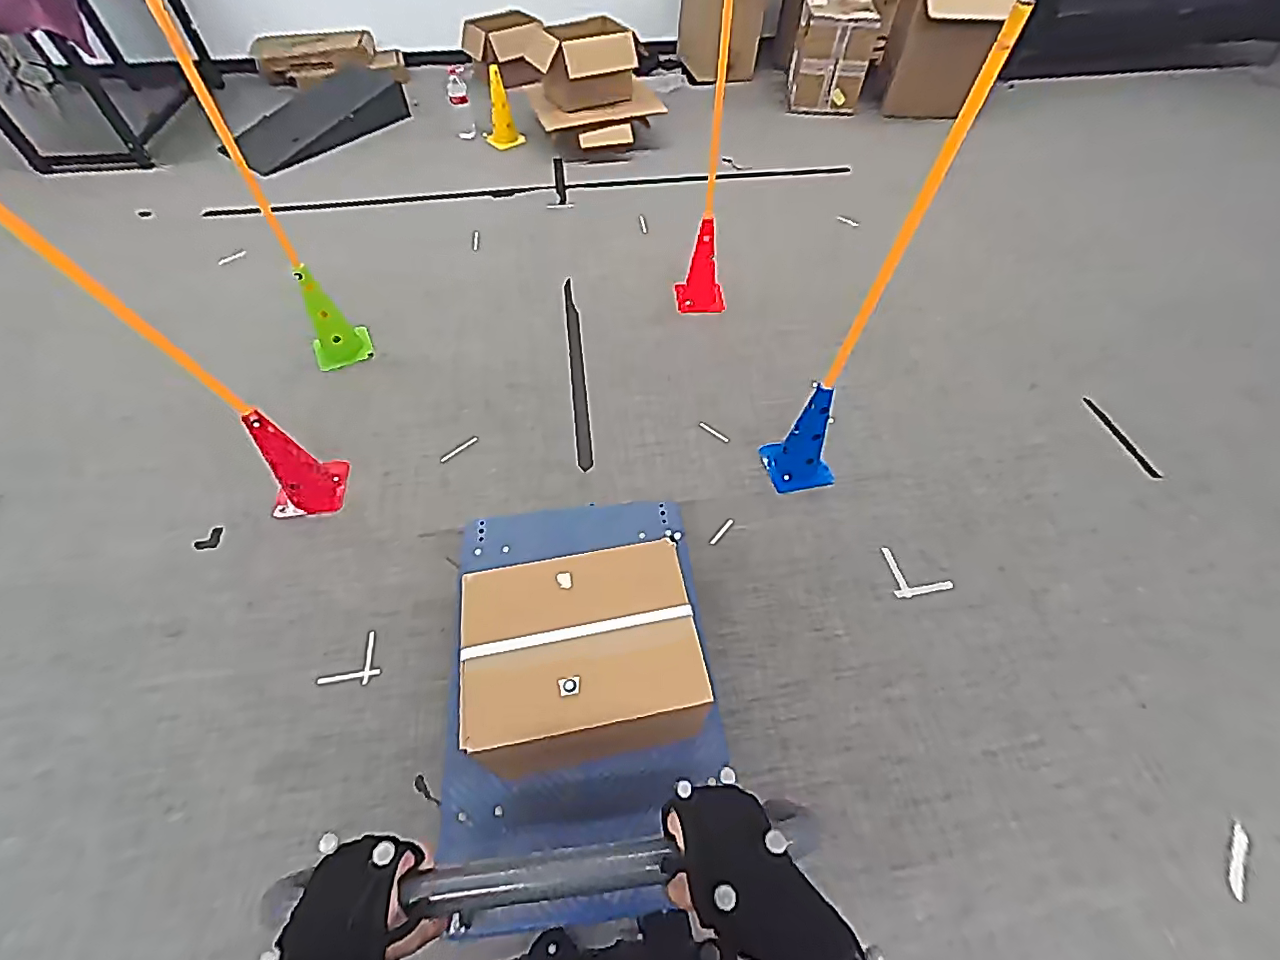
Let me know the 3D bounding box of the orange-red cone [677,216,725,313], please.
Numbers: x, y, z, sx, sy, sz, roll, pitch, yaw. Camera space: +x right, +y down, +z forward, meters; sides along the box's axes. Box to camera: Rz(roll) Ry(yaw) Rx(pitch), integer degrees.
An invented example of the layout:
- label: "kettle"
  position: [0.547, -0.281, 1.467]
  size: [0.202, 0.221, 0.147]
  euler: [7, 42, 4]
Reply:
- label: "orange-red cone"
  position: [0.259, -0.870, 2.153]
  size: [0.199, 0.360, 0.198]
  euler: [-1, 55, -2]

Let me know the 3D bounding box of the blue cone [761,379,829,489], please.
- label: "blue cone"
  position: [0.515, -0.152, 1.653]
  size: [0.193, 0.380, 0.192]
  euler: [-10, 54, -8]
